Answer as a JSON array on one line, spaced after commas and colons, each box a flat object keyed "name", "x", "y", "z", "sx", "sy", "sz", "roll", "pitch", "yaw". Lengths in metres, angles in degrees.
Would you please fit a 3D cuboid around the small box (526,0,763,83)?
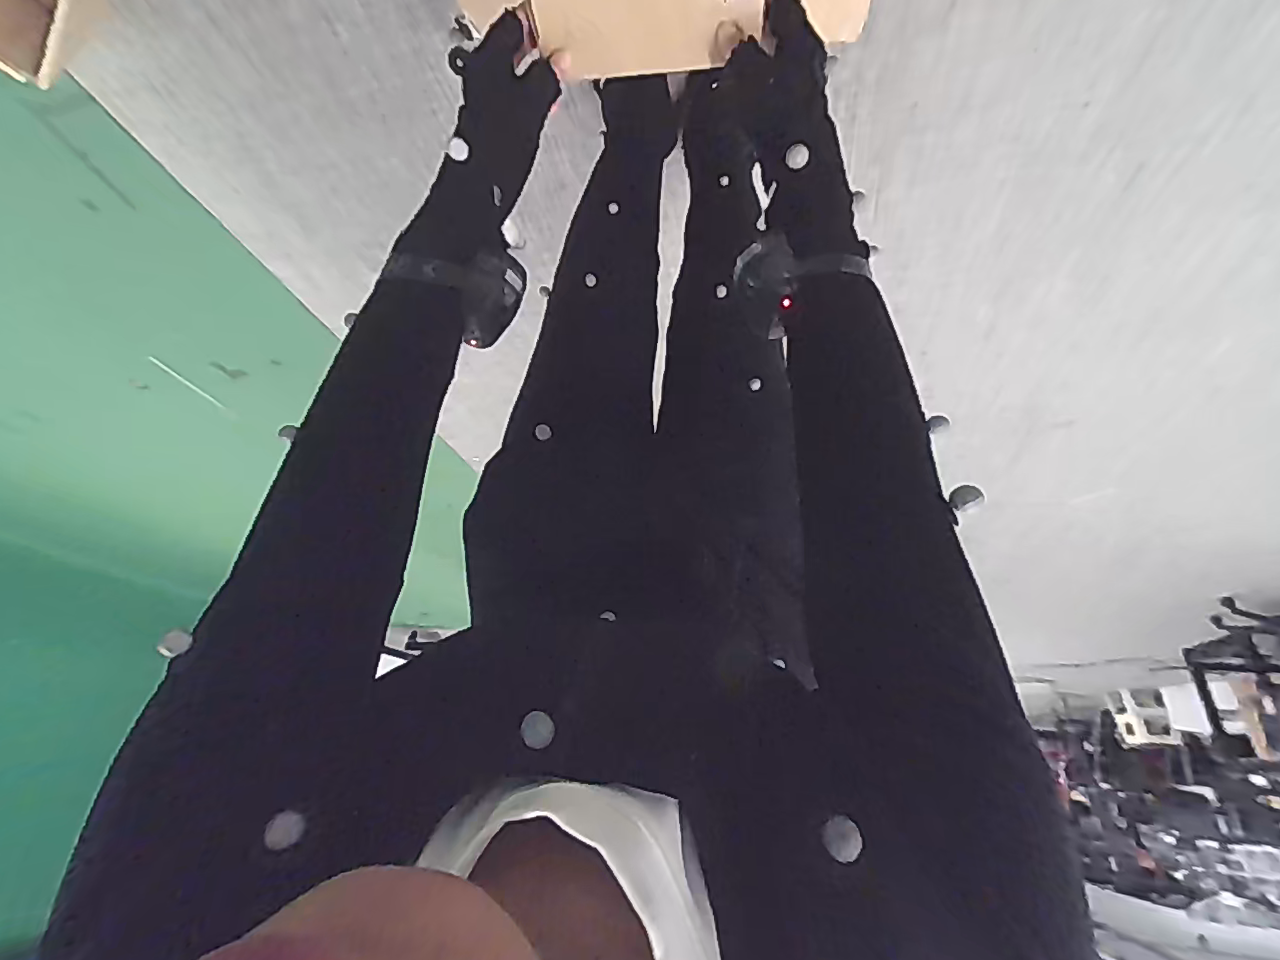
[{"name": "small box", "x": 0.006, "y": -0.435, "z": 0.402, "sx": 0.179, "sy": 0.176, "sz": 0.168, "roll": 1, "pitch": 153, "yaw": 8}]
